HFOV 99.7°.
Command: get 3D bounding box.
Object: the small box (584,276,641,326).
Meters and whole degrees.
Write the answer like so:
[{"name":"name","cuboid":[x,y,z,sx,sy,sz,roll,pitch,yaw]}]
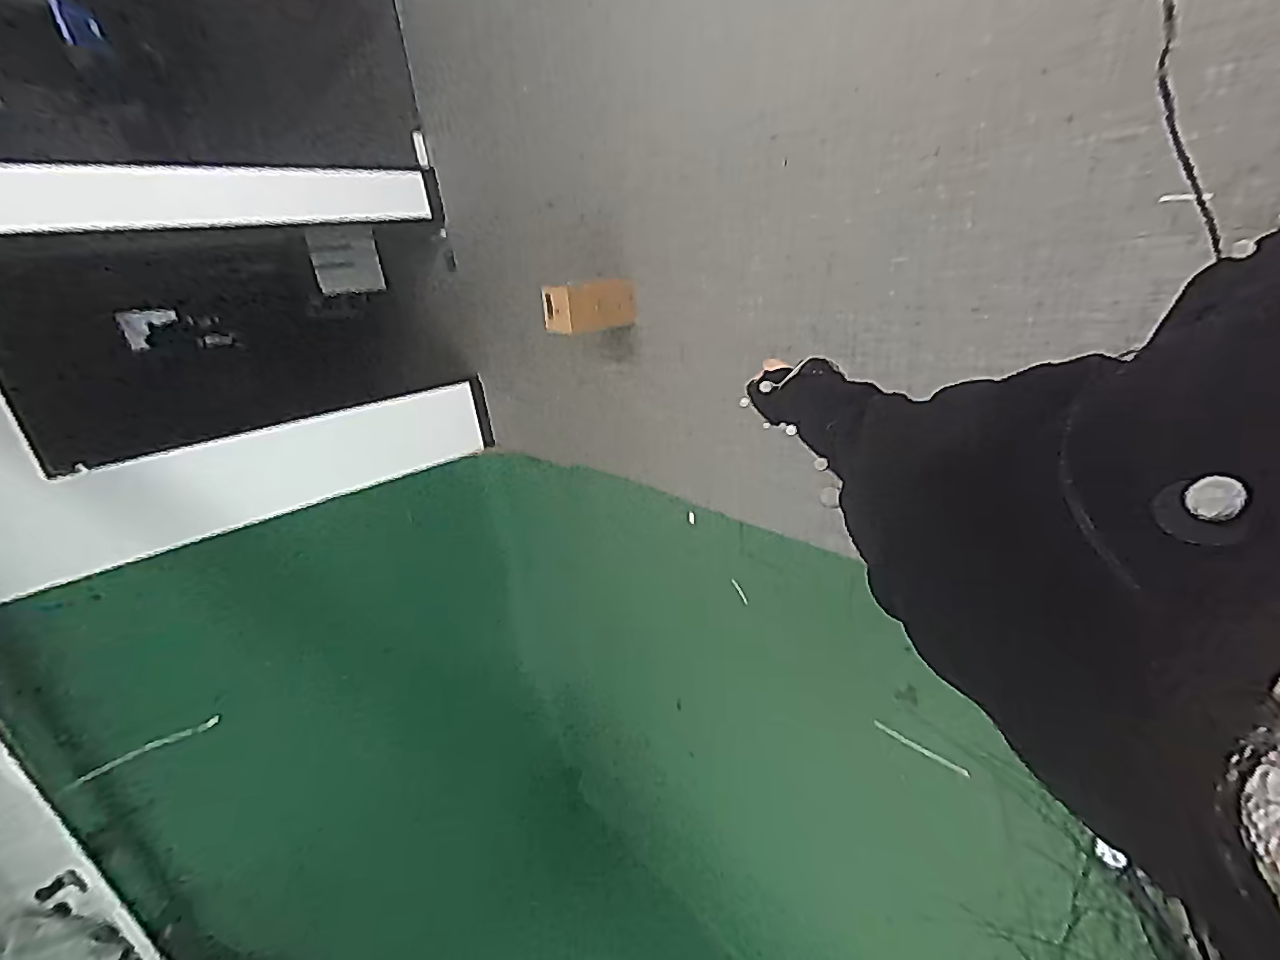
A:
[{"name":"small box","cuboid":[-0.108,-0.739,2.218,0.179,0.176,0.168,25,128,42]}]
